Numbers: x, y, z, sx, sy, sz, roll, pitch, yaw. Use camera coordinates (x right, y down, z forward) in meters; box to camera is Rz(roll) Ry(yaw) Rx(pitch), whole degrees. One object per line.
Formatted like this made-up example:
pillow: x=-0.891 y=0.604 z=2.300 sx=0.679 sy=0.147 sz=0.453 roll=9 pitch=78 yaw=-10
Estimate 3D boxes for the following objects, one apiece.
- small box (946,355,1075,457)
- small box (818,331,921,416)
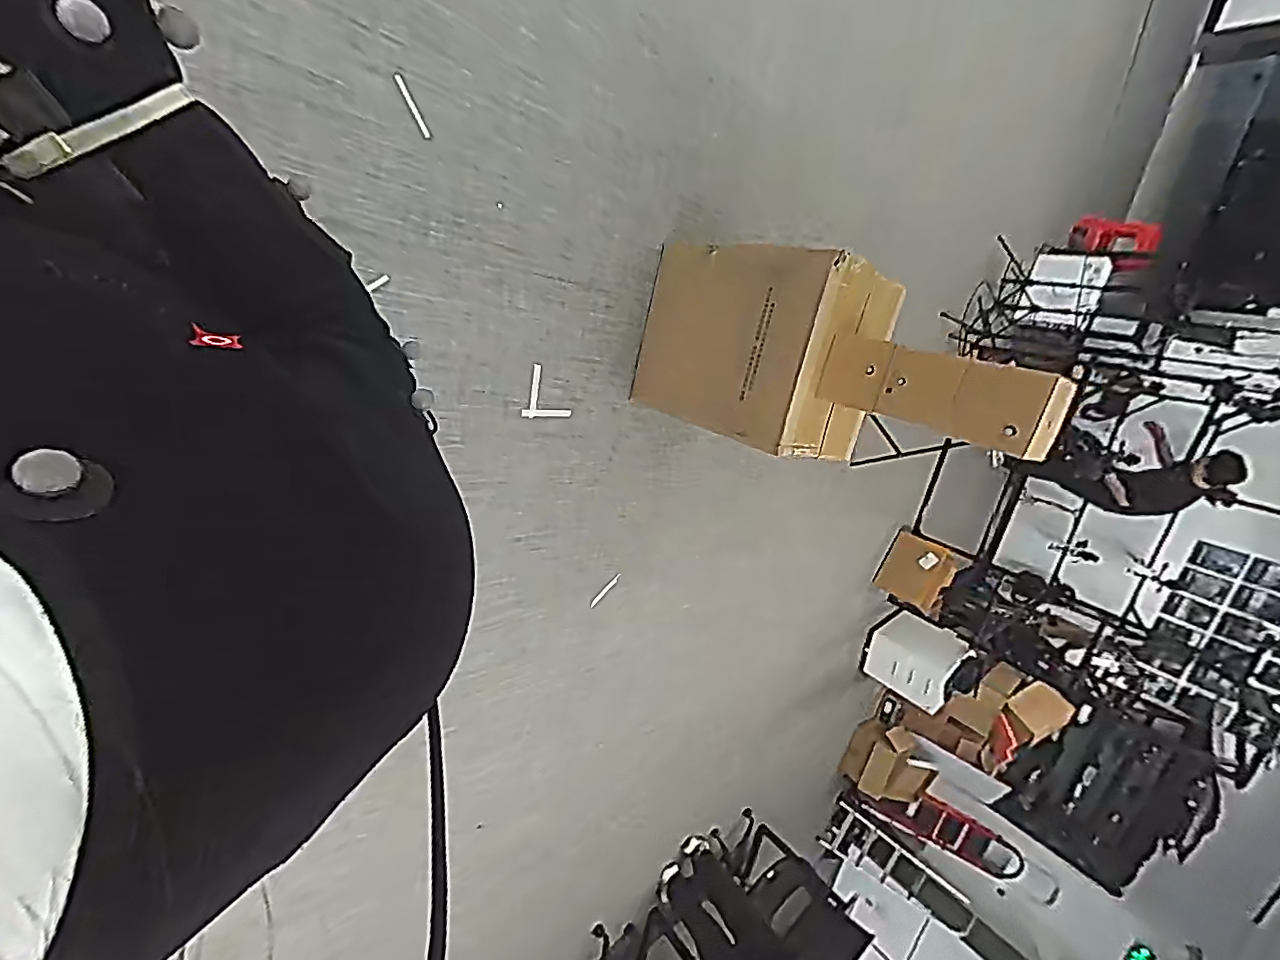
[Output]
small box: x=0.800 y=-0.161 z=1.181 sx=0.168 sy=0.176 sz=0.179 roll=0 pitch=110 yaw=-42
small box: x=0.591 y=-0.280 z=1.407 sx=0.168 sy=0.176 sz=0.179 roll=1 pitch=110 yaw=-43
